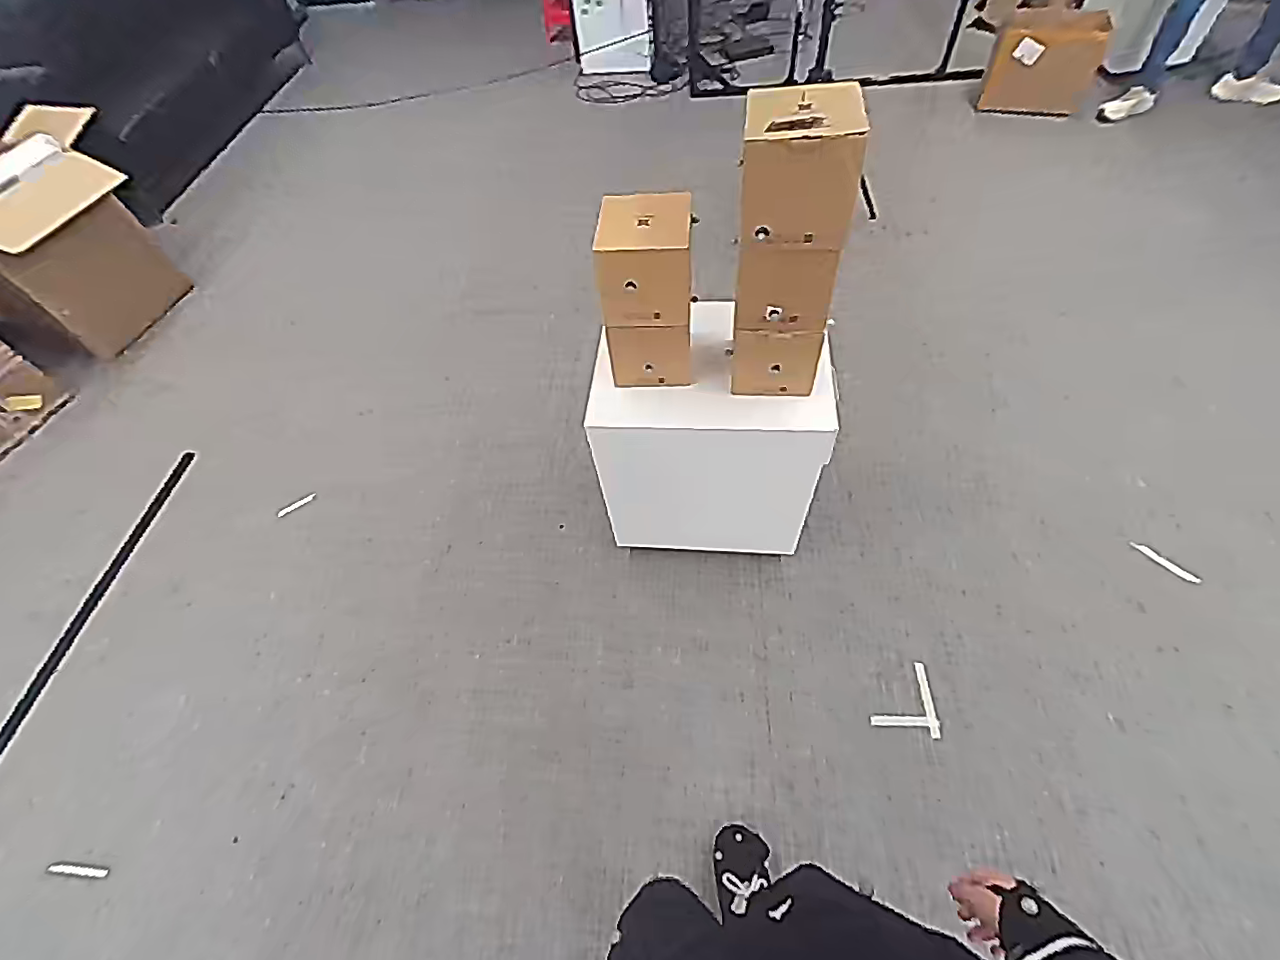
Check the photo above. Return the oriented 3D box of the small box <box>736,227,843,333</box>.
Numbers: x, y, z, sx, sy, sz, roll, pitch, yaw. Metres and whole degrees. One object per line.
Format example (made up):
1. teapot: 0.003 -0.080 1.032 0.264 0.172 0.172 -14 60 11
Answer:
1. small box: 0.261 -0.389 0.979 0.168 0.176 0.179 2 57 9

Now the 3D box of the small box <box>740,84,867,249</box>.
1. small box: 0.245 -0.479 0.842 0.168 0.176 0.179 3 55 10

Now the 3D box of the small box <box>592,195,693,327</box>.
1. small box: 0.014 -0.405 1.016 0.168 0.176 0.179 1 55 6

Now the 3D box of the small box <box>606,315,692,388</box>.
1. small box: 0.025 -0.317 1.152 0.168 0.176 0.179 0 56 6

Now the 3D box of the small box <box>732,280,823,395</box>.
1. small box: 0.275 -0.290 1.108 0.168 0.176 0.179 2 57 9
